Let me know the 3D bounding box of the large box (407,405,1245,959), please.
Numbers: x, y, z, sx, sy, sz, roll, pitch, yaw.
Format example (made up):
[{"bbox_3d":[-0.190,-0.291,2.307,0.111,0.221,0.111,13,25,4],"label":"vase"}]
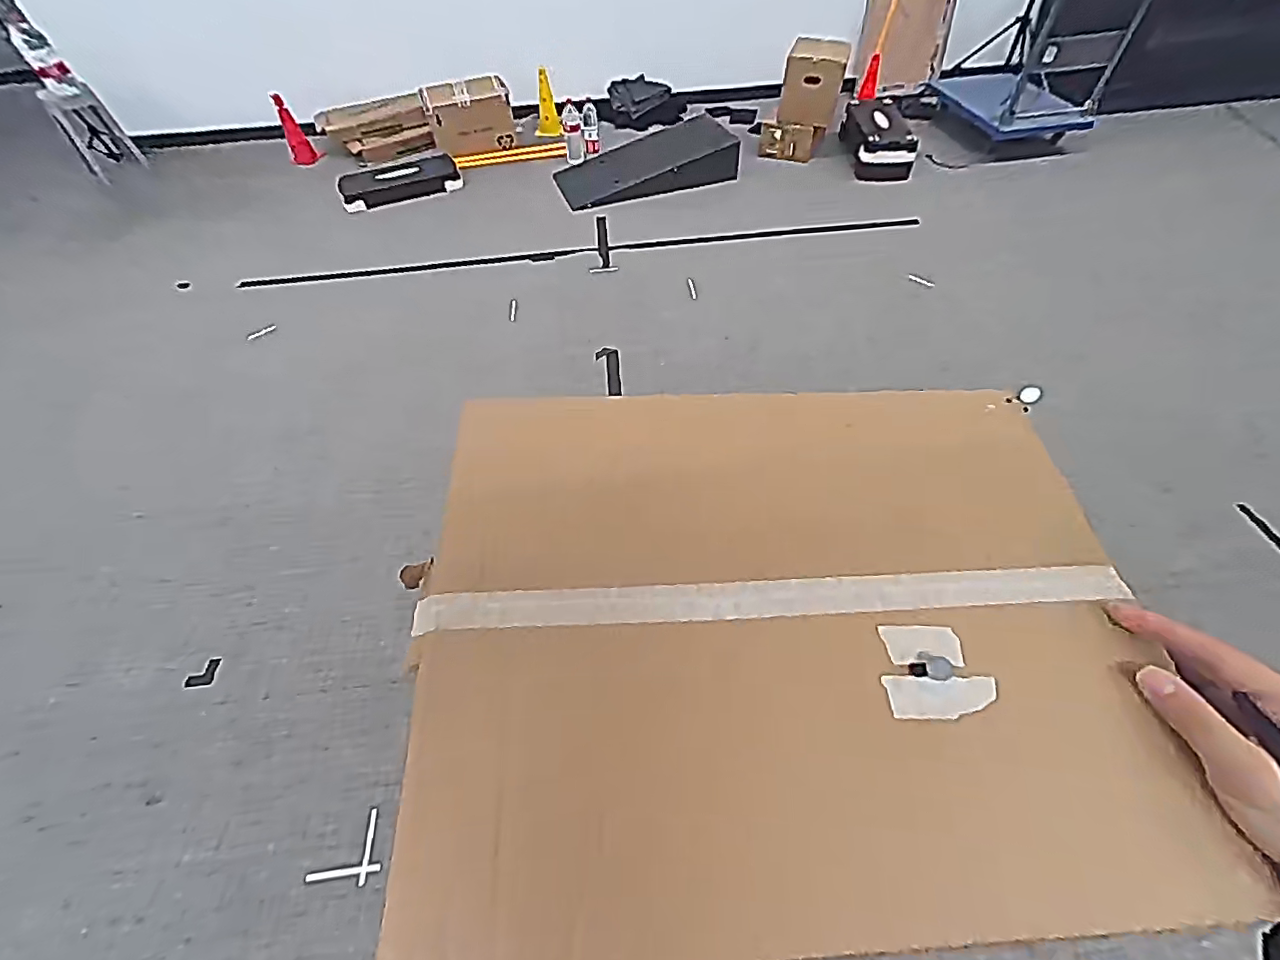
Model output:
[{"bbox_3d":[0.077,0.157,0.448,0.408,0.320,0.320,-1,58,-4],"label":"large box"}]
